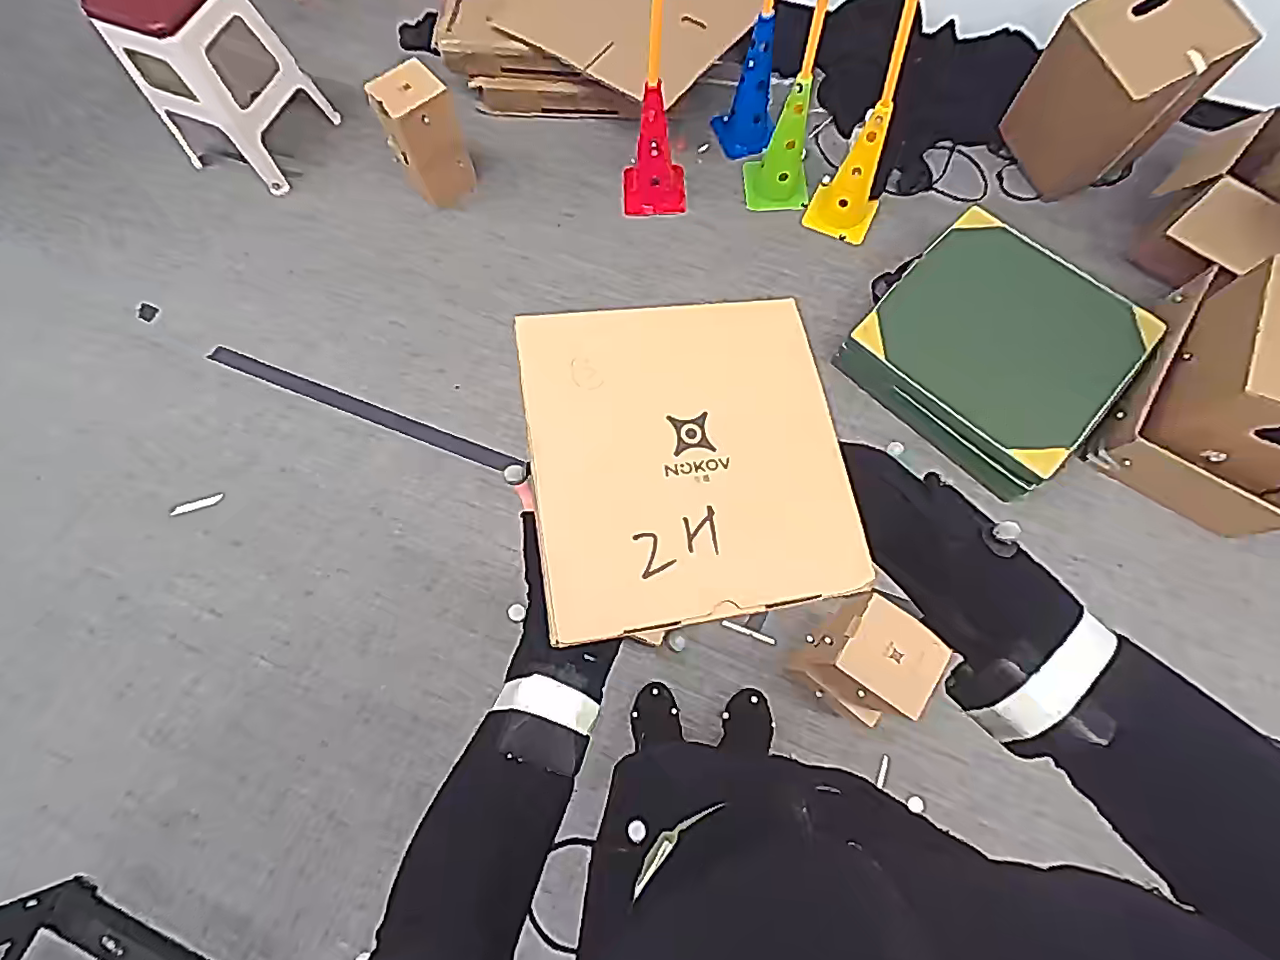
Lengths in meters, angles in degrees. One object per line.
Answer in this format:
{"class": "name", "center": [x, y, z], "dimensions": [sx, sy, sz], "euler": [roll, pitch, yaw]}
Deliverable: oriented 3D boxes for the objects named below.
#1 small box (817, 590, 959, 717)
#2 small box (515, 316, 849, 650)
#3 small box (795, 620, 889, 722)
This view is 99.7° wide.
{"class": "small box", "center": [0.486, 0.348, 1.090], "dimensions": [0.179, 0.176, 0.168], "euler": [35, 77, 11]}
{"class": "small box", "center": [0.008, 0.012, 0.360], "dimensions": [0.168, 0.176, 0.179], "euler": [-4, 77, -9]}
{"class": "small box", "center": [0.483, 0.423, 1.239], "dimensions": [0.179, 0.176, 0.168], "euler": [37, 76, 11]}
